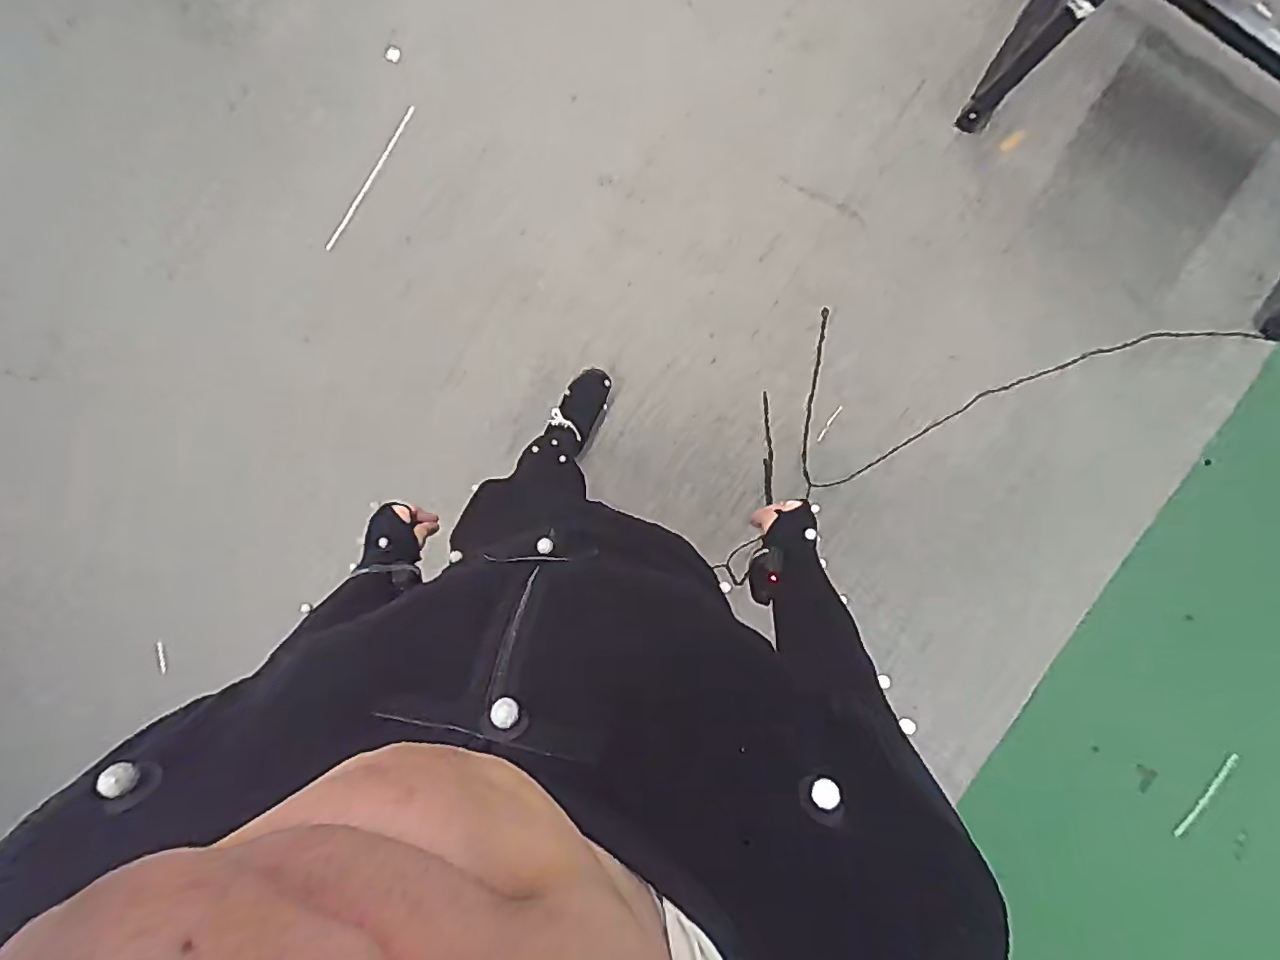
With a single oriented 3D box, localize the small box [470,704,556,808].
[{"bbox_3d":[-0.360,0.792,1.573,0.168,0.176,0.179,33,92,-2],"label":"small box"}]
